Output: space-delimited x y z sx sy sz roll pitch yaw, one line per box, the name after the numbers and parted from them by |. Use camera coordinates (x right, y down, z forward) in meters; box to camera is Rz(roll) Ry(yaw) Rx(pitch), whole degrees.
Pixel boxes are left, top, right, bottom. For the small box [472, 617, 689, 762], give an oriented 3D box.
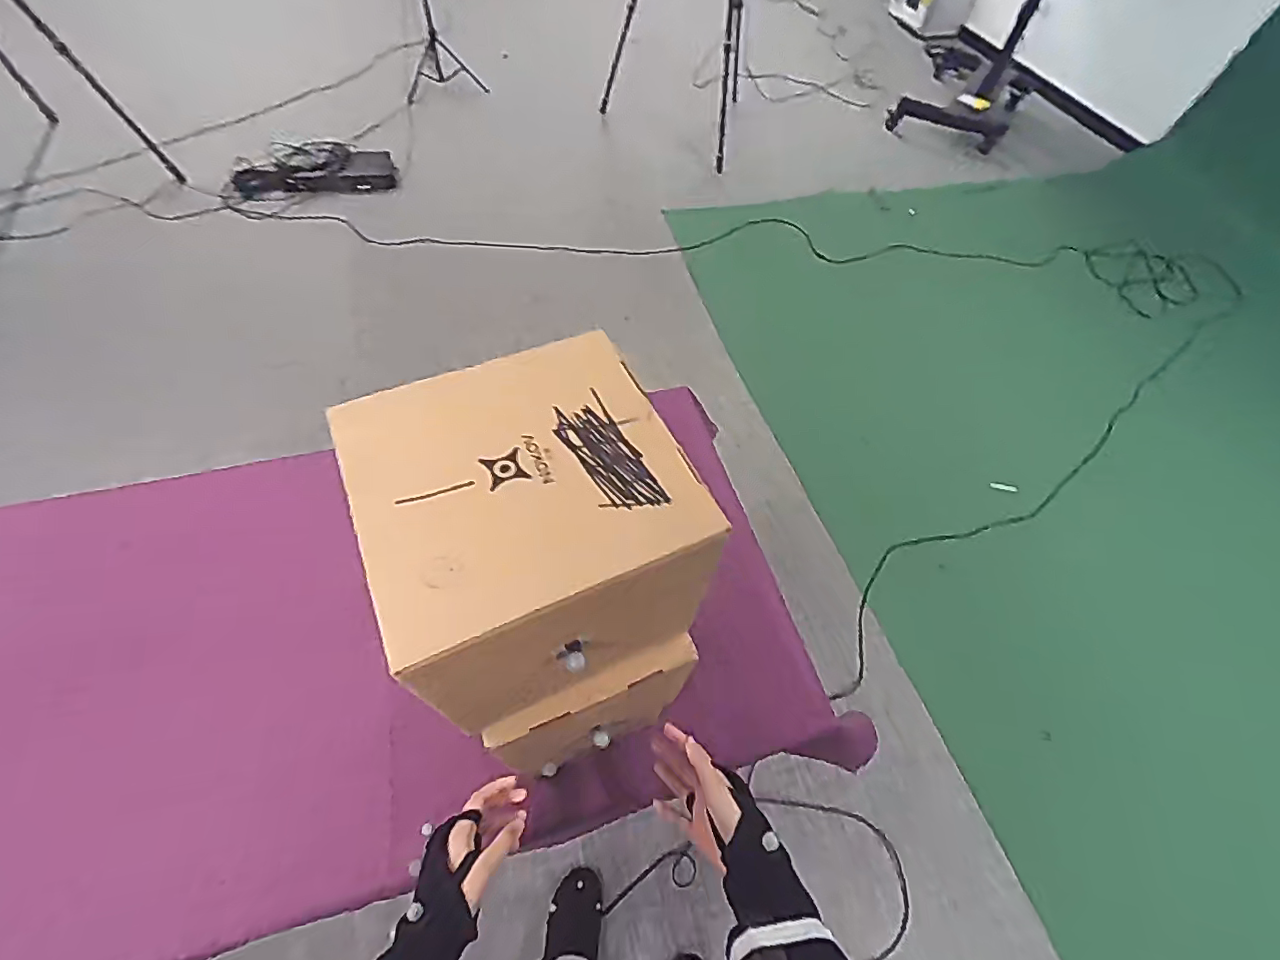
-0.075 0.132 0.496 0.168 0.176 0.179 -18 61 -15 | small box

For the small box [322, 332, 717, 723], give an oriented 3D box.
-0.075 0.036 0.362 0.179 0.176 0.168 -21 60 -16 | small box
